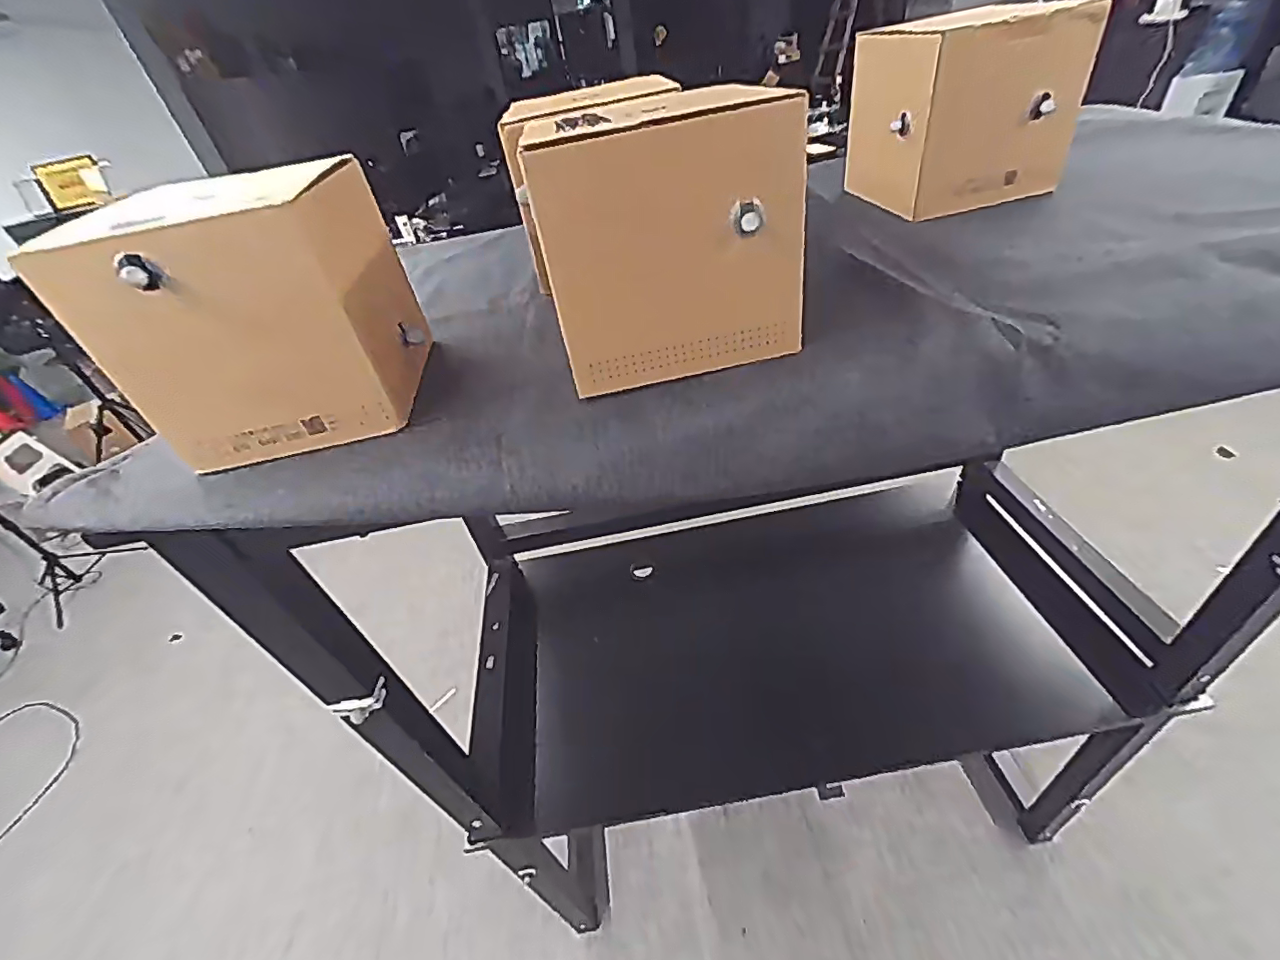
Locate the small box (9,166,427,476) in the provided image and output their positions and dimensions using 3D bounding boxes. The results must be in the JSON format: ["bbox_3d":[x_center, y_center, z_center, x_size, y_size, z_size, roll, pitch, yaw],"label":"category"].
[{"bbox_3d":[-0.288,-0.129,0.429,0.168,0.176,0.179,-13,39,-2],"label":"small box"}]

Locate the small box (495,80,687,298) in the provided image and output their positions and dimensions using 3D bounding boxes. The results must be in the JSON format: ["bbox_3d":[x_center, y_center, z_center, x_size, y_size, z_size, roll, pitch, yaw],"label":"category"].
[{"bbox_3d":[-0.046,-0.328,0.612,0.179,0.176,0.168,-11,40,1],"label":"small box"}]

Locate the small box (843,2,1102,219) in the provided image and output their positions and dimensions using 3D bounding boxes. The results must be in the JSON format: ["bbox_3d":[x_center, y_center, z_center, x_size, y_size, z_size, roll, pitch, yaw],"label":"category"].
[{"bbox_3d":[0.347,-0.409,0.609,0.168,0.176,0.179,-12,40,-2],"label":"small box"}]
